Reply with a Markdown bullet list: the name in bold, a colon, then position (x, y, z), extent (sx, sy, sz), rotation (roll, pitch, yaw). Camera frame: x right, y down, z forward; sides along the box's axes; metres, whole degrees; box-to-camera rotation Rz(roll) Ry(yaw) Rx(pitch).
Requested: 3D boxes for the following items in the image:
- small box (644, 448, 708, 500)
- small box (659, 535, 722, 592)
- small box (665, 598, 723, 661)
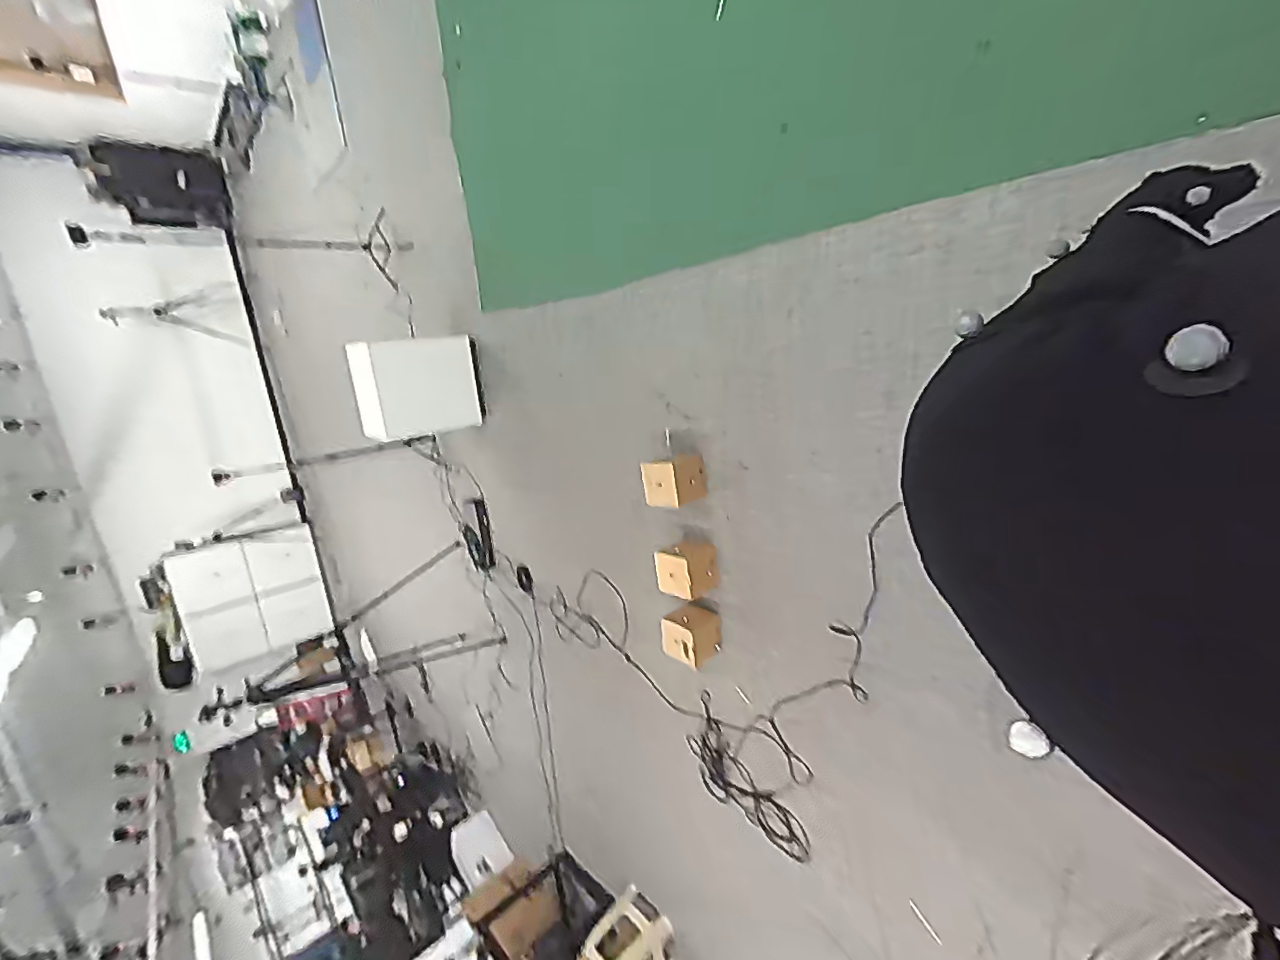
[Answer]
- **small box**: position (0.145, -0.025, 2.065), extent (0.179, 0.176, 0.168), rotation (2, 105, 48)
- **small box**: position (0.199, 0.323, 2.135), extent (0.179, 0.176, 0.168), rotation (4, 107, 47)
- **small box**: position (0.226, 0.604, 2.208), extent (0.179, 0.176, 0.168), rotation (12, 113, 47)
